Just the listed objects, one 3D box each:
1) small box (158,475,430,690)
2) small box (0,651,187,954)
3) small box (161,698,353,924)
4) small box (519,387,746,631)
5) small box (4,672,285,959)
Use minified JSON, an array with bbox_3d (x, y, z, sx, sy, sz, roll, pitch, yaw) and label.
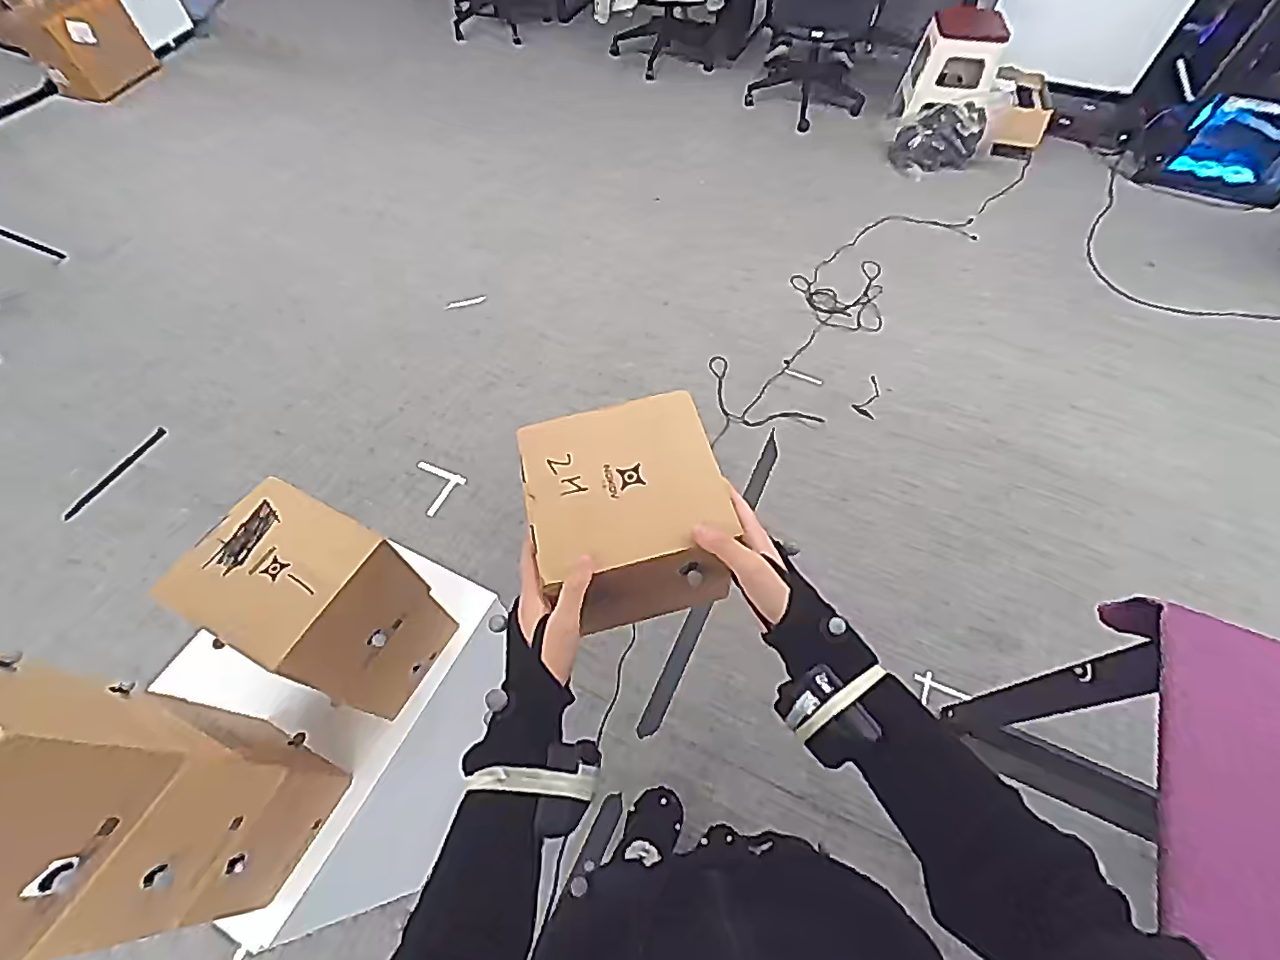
[{"bbox_3d":[-0.391,0.129,0.646,0.179,0.176,0.168,25,63,13],"label":"small box"},{"bbox_3d":[-0.509,0.232,0.397,0.179,0.176,0.168,22,62,12],"label":"small box"},{"bbox_3d":[-0.510,0.402,0.673,0.179,0.176,0.168,23,62,15],"label":"small box"},{"bbox_3d":[-0.009,0.037,0.548,0.179,0.176,0.168,-14,59,-4],"label":"small box"},{"bbox_3d":[-0.508,0.318,0.534,0.179,0.176,0.168,22,61,13],"label":"small box"}]
